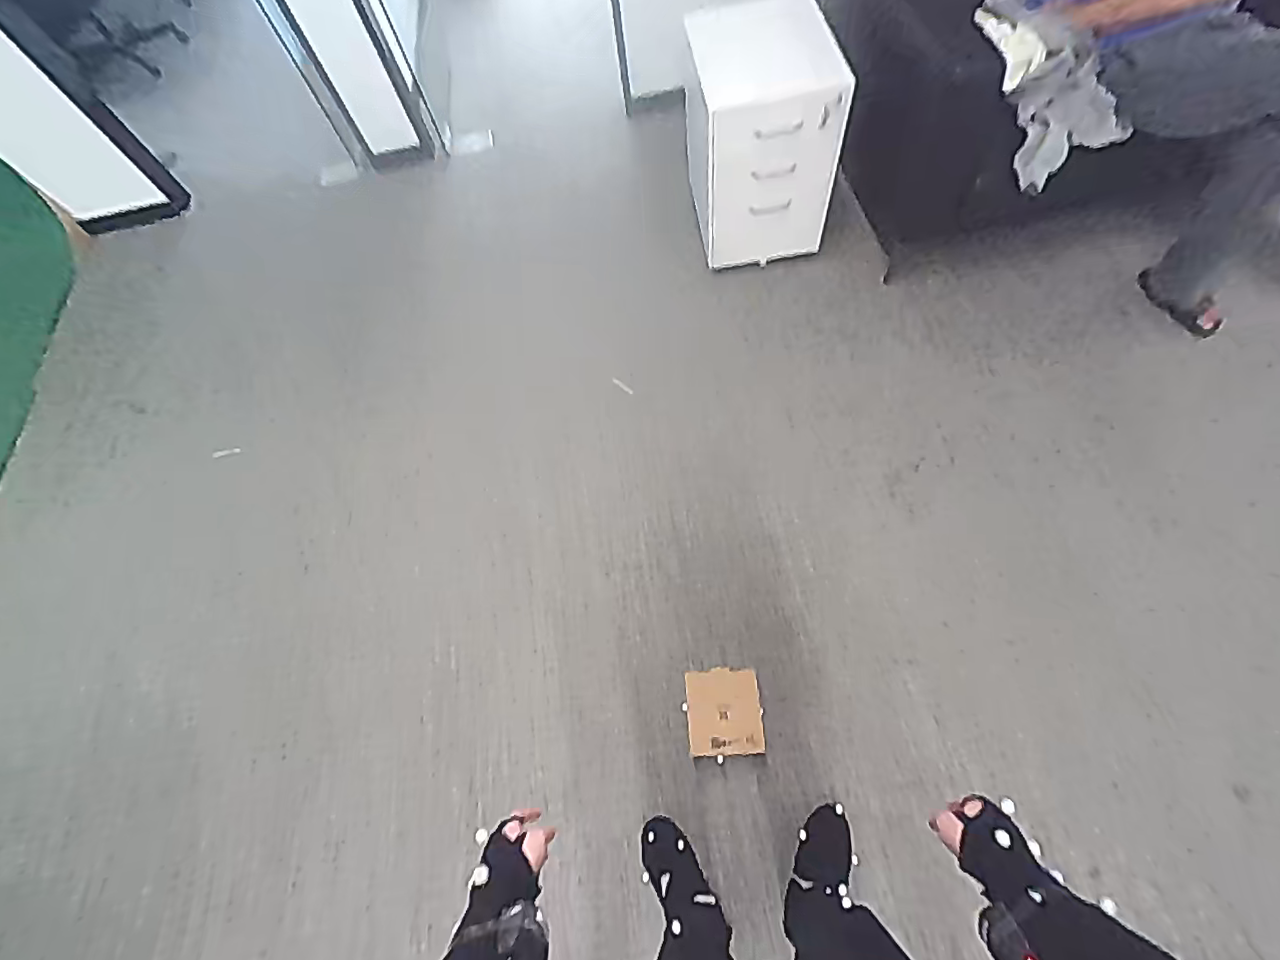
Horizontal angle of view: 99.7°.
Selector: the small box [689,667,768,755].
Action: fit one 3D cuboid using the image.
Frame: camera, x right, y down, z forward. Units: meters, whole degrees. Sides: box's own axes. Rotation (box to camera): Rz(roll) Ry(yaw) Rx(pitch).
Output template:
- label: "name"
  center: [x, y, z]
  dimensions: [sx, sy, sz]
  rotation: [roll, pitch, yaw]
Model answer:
- label: "small box"
  center: [0.203, 0.554, 1.288]
  dimensions: [0.168, 0.176, 0.179]
  rotation: [-4, 62, 4]
